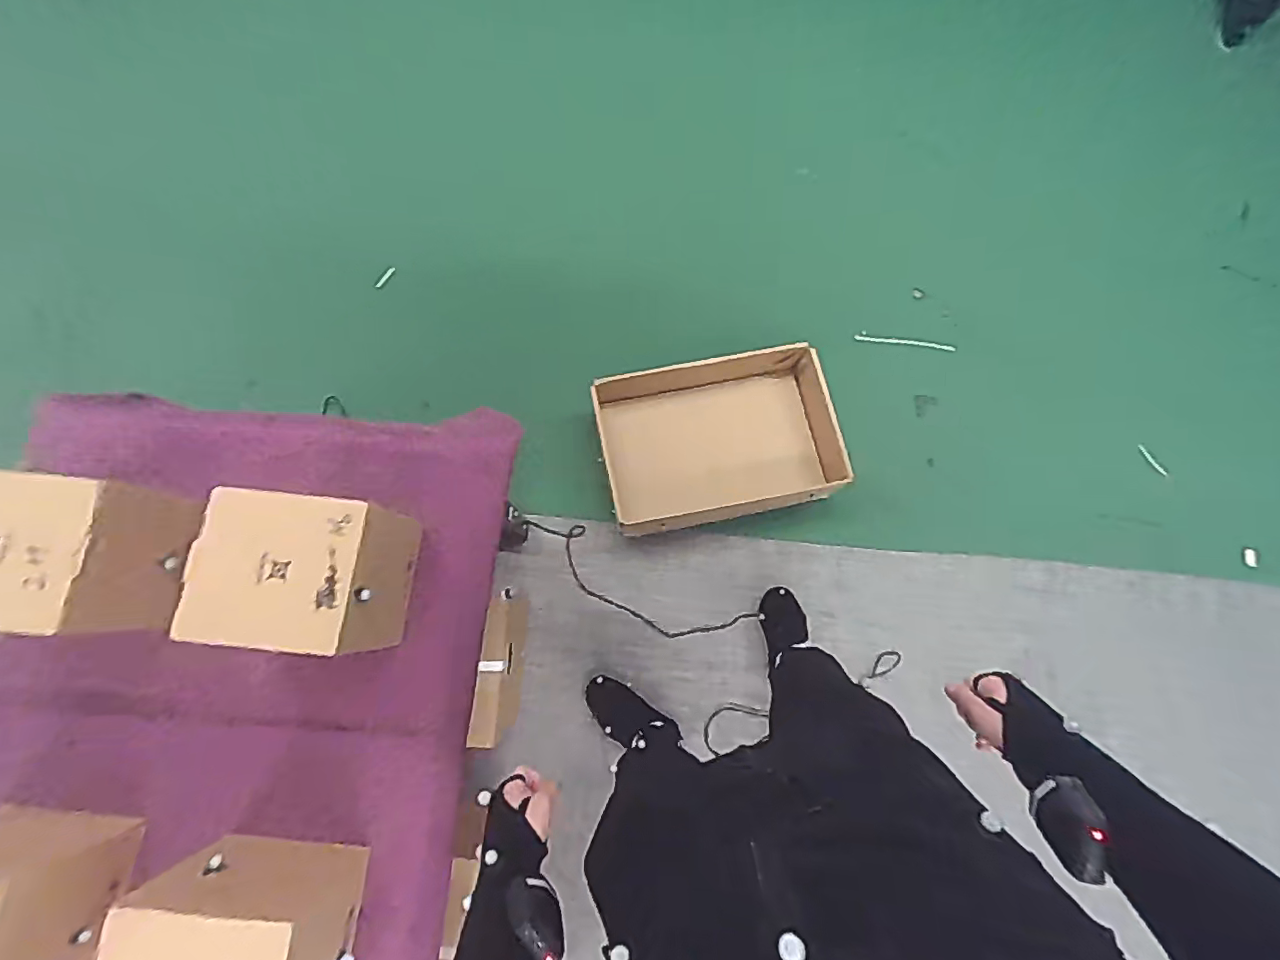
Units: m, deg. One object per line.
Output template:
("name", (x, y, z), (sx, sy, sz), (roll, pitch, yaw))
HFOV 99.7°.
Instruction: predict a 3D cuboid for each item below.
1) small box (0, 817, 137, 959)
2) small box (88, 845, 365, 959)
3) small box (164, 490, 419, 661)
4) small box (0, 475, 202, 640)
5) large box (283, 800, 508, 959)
("small box", (-0.694, 0.469, 0.555), (0.179, 0.176, 0.168), (7, 76, -2))
("small box", (-0.422, 0.506, 0.557), (0.179, 0.176, 0.168), (6, 77, -1))
("small box", (-0.396, 0.117, 0.650), (0.179, 0.176, 0.168), (6, 77, 1))
("small box", (-0.682, 0.093, 0.642), (0.179, 0.176, 0.168), (6, 78, -2))
("large box", (-0.520, 0.902, 1.138), (0.408, 0.320, 0.320), (4, 76, -1))
